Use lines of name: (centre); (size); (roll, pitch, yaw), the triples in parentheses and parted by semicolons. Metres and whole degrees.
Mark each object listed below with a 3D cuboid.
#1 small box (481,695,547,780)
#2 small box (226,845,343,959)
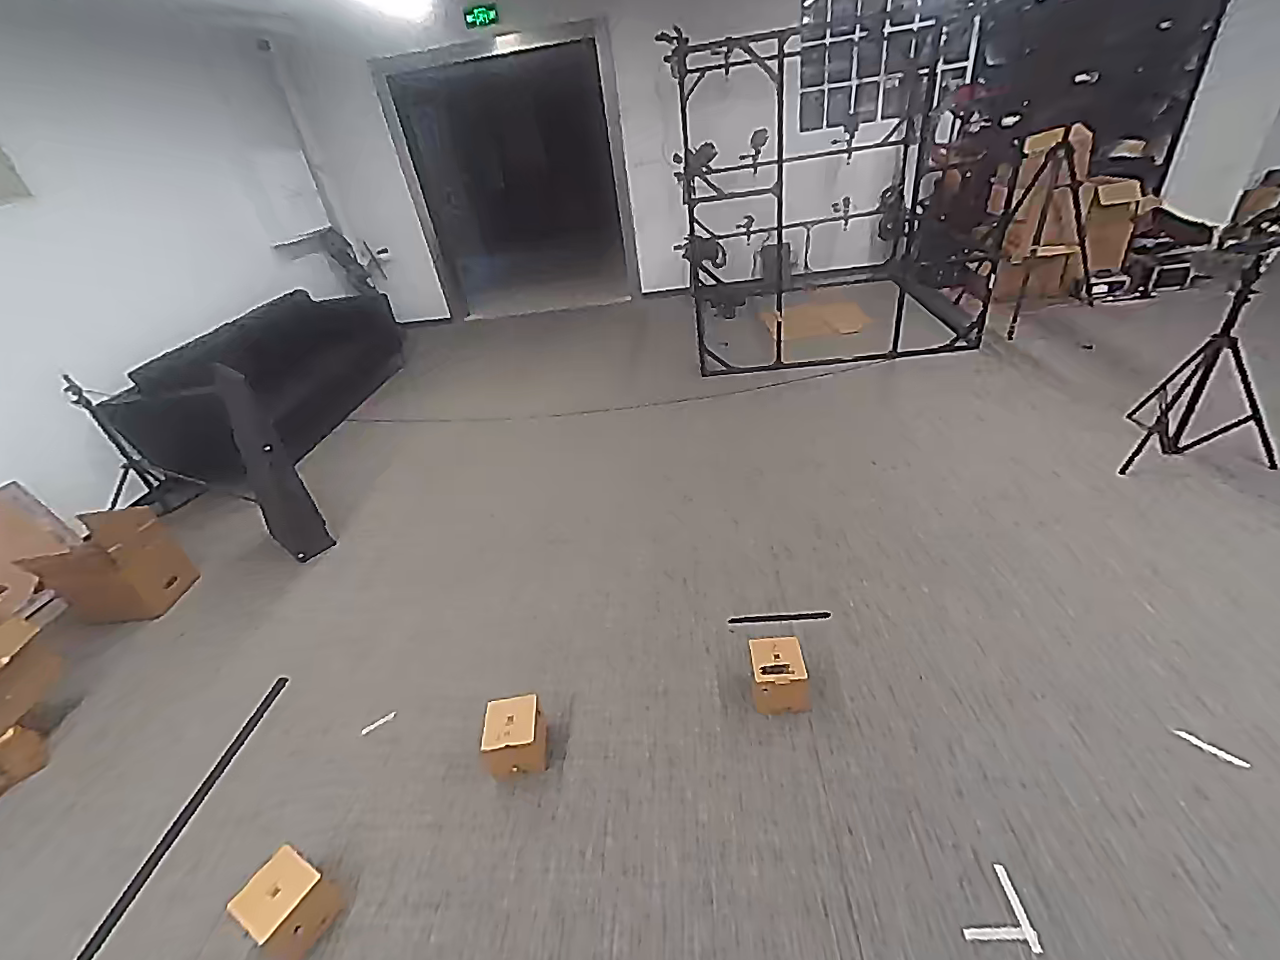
small box: (-0.403, 0.836, 1.758); (0.168, 0.176, 0.179); (-9, 33, -1)
small box: (-0.933, 1.127, 1.436); (0.179, 0.176, 0.168); (11, 38, 29)
